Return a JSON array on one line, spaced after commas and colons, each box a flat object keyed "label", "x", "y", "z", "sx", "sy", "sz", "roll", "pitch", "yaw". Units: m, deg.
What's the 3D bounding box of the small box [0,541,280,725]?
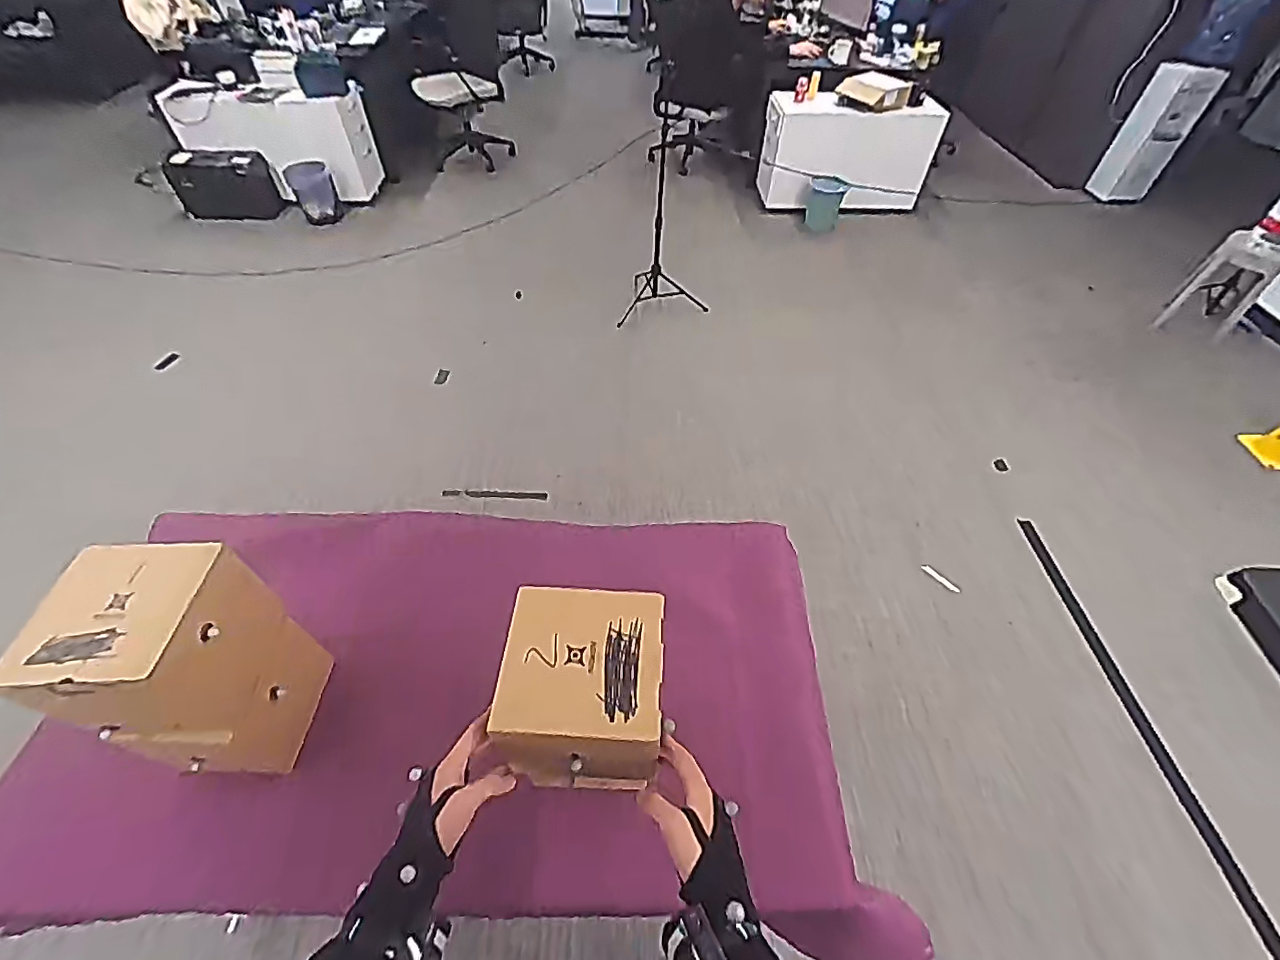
[{"label": "small box", "x": -0.590, "y": 0.194, "z": 0.670, "sx": 0.168, "sy": 0.176, "sz": 0.179, "roll": 0, "pitch": 49, "yaw": -3}]

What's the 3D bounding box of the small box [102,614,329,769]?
[{"label": "small box", "x": -0.592, "y": 0.308, "z": 0.789, "sx": 0.168, "sy": 0.176, "sz": 0.179, "roll": 3, "pitch": 50, "yaw": 0}]

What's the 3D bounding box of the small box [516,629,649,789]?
[{"label": "small box", "x": -0.072, "y": 0.337, "z": 0.788, "sx": 0.168, "sy": 0.176, "sz": 0.179, "roll": 2, "pitch": 49, "yaw": 0}]
